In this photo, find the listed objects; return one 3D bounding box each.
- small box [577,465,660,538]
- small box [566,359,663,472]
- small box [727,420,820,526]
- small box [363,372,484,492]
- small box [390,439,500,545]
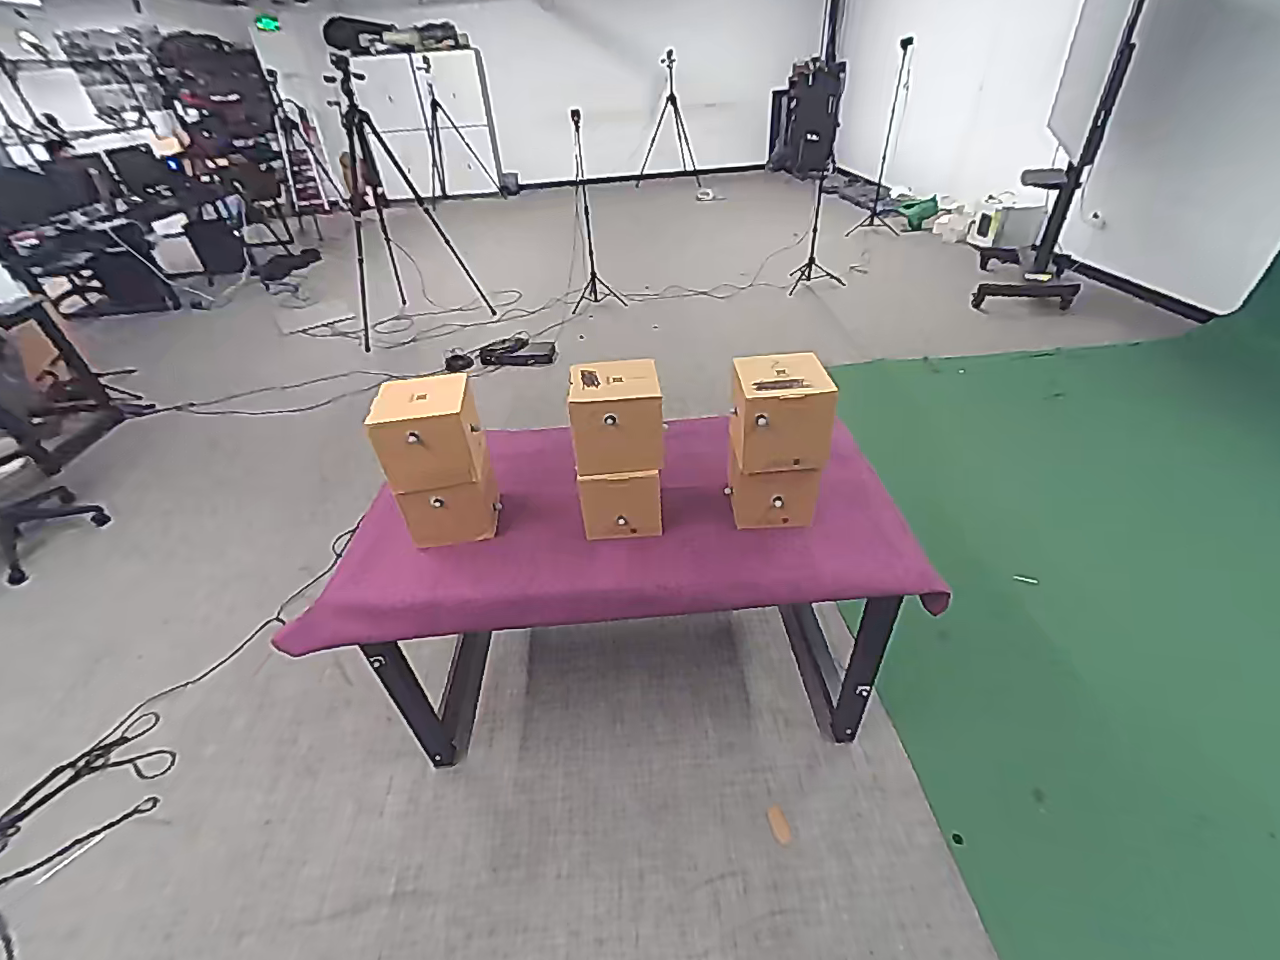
[{"bbox_3d":[-0.042,0.008,1.187,0.168,0.176,0.179,-4,38,2],"label":"small box"},{"bbox_3d":[-0.049,-0.128,1.094,0.179,0.176,0.168,-5,37,-2],"label":"small box"},{"bbox_3d":[0.283,-0.012,1.181,0.168,0.176,0.179,-2,38,3],"label":"small box"},{"bbox_3d":[-0.424,-0.097,1.095,0.179,0.176,0.168,-9,39,-5],"label":"small box"},{"bbox_3d":[-0.420,0.029,1.197,0.179,0.176,0.168,-7,38,-4],"label":"small box"}]
